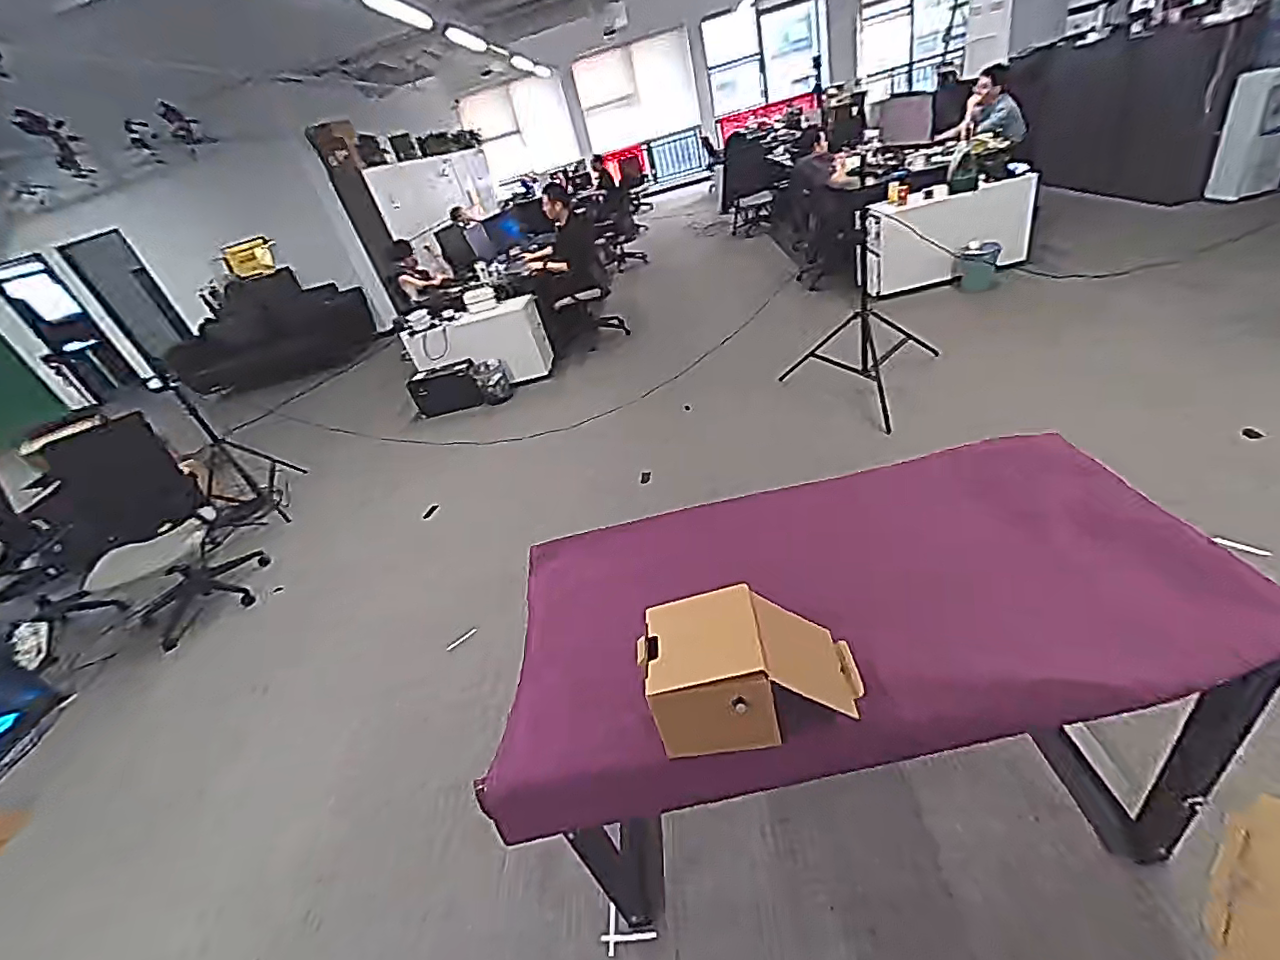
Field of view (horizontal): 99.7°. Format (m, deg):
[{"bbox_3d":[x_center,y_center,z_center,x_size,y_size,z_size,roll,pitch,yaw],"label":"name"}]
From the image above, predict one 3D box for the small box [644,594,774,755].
[{"bbox_3d":[0.111,0.308,0.857,0.179,0.176,0.168,-11,32,9],"label":"small box"}]
